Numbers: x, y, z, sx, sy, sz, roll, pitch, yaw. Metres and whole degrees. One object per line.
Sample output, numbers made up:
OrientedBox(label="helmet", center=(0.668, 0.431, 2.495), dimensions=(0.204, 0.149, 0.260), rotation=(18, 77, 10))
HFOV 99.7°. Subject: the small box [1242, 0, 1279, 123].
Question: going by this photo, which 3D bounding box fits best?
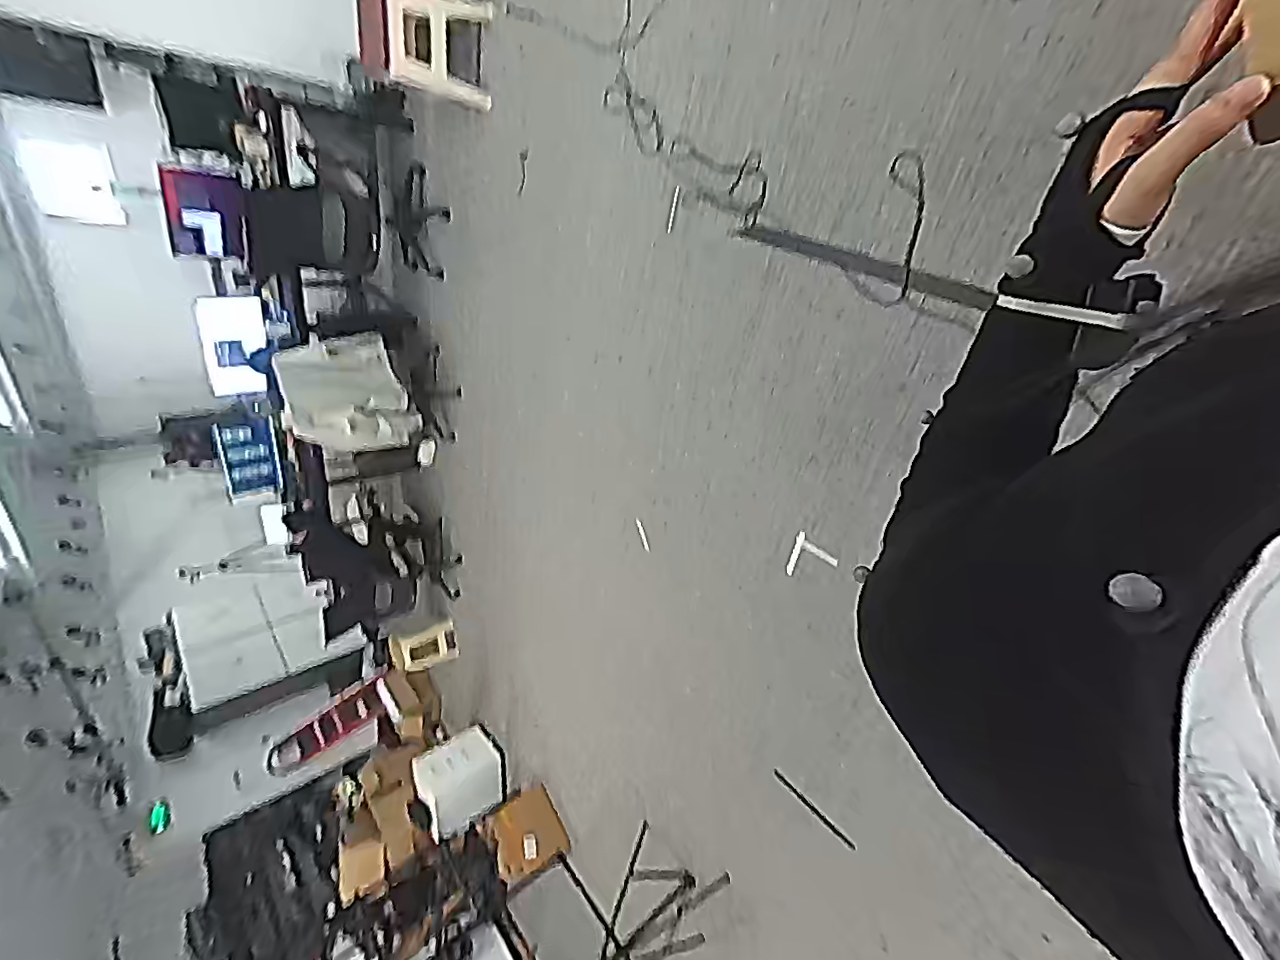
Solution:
OrientedBox(label="small box", center=(0.412, -0.305, 0.254), dimensions=(0.168, 0.176, 0.179), rotation=(2, 105, 51))
